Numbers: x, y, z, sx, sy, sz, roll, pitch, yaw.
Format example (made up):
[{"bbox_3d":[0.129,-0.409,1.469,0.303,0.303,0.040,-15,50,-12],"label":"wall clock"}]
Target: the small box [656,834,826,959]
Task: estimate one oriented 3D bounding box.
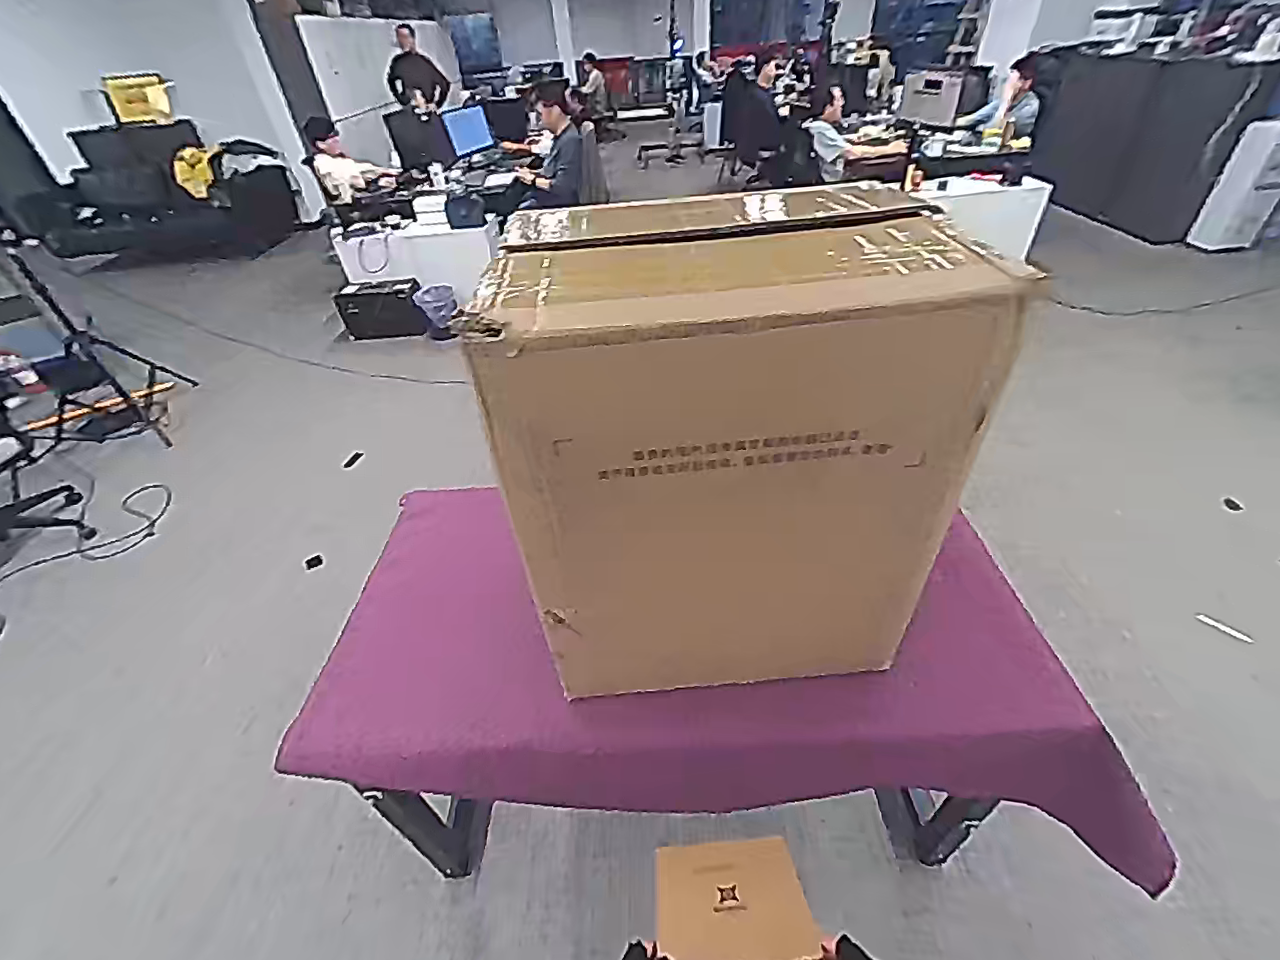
[{"bbox_3d":[0.109,0.538,0.597,0.168,0.176,0.179,-6,2,0],"label":"small box"}]
